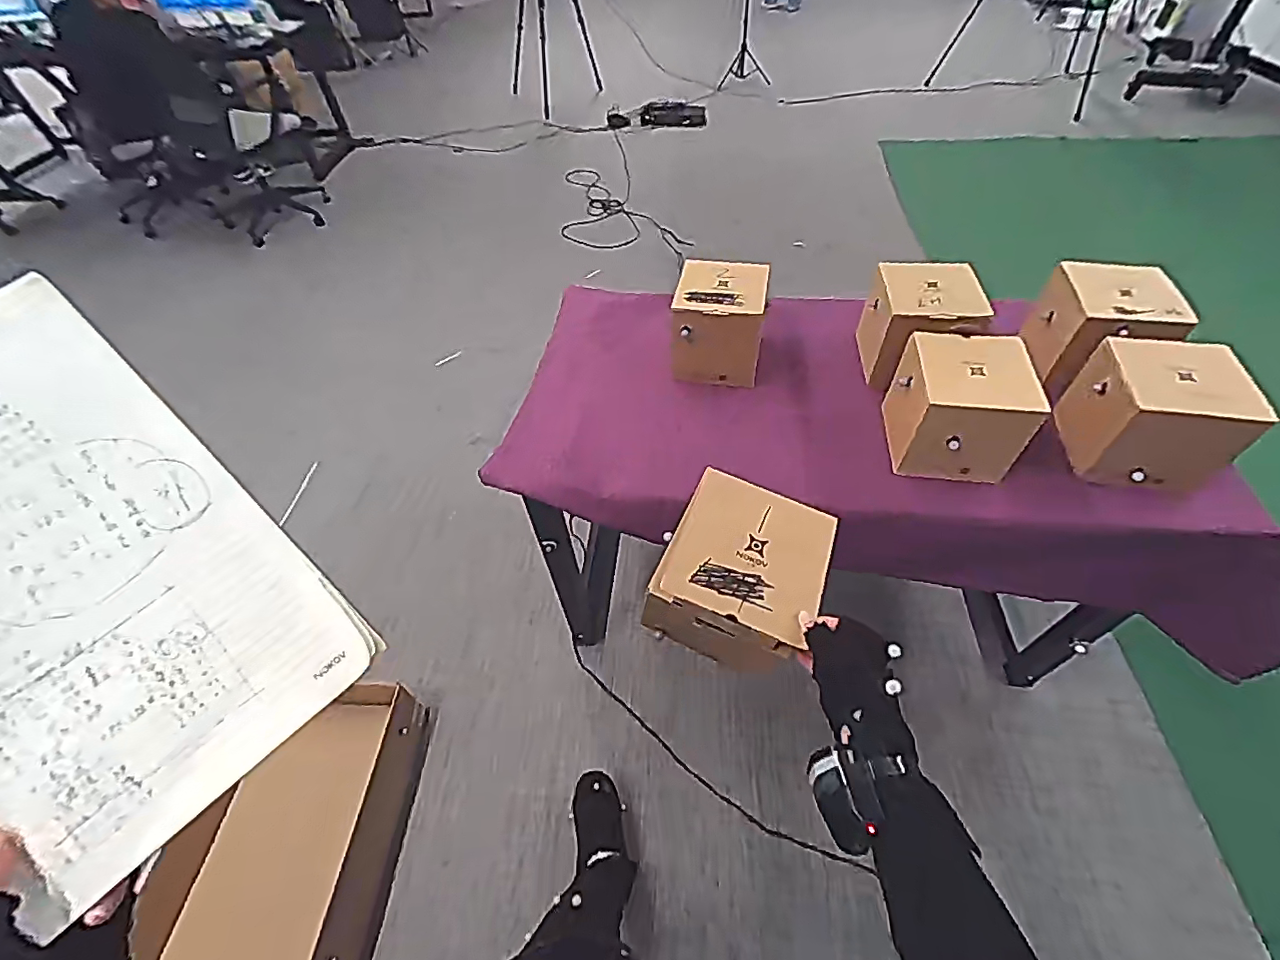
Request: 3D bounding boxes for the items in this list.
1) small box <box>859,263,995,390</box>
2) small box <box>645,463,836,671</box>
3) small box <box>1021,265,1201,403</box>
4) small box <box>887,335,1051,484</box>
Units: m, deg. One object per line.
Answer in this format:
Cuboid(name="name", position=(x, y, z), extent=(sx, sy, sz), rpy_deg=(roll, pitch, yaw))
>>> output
Cuboid(name="small box", position=(0.528, -0.287, 1.024), extent=(0.168, 0.176, 0.179), rpy_deg=(4, 52, 7))
Cuboid(name="small box", position=(0.114, 0.117, 0.675), extent=(0.168, 0.176, 0.179), rpy_deg=(26, 63, 8))
Cuboid(name="small box", position=(0.838, -0.267, 0.990), extent=(0.168, 0.176, 0.179), rpy_deg=(7, 51, 10))
Cuboid(name="small box", position=(0.519, -0.112, 0.884), extent=(0.168, 0.176, 0.179), rpy_deg=(6, 52, 9))
